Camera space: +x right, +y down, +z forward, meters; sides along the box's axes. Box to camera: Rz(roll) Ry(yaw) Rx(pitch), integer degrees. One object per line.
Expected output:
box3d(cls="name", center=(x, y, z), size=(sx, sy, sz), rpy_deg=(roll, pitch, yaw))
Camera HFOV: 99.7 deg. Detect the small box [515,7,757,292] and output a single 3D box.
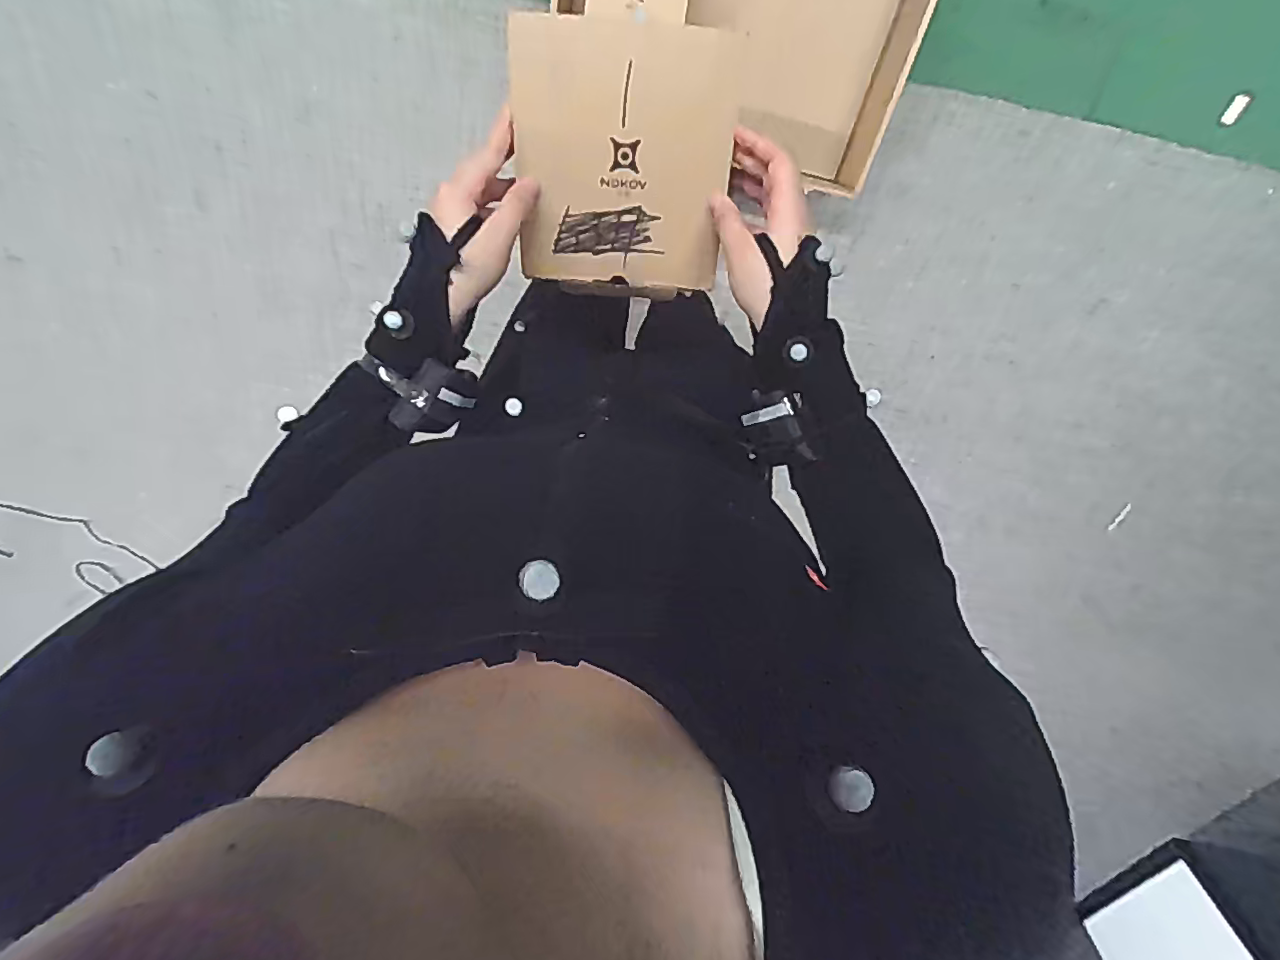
box3d(cls="small box", center=(-0.007, -0.283, 0.471), size=(0.168, 0.176, 0.179), rpy_deg=(3, 126, -3))
